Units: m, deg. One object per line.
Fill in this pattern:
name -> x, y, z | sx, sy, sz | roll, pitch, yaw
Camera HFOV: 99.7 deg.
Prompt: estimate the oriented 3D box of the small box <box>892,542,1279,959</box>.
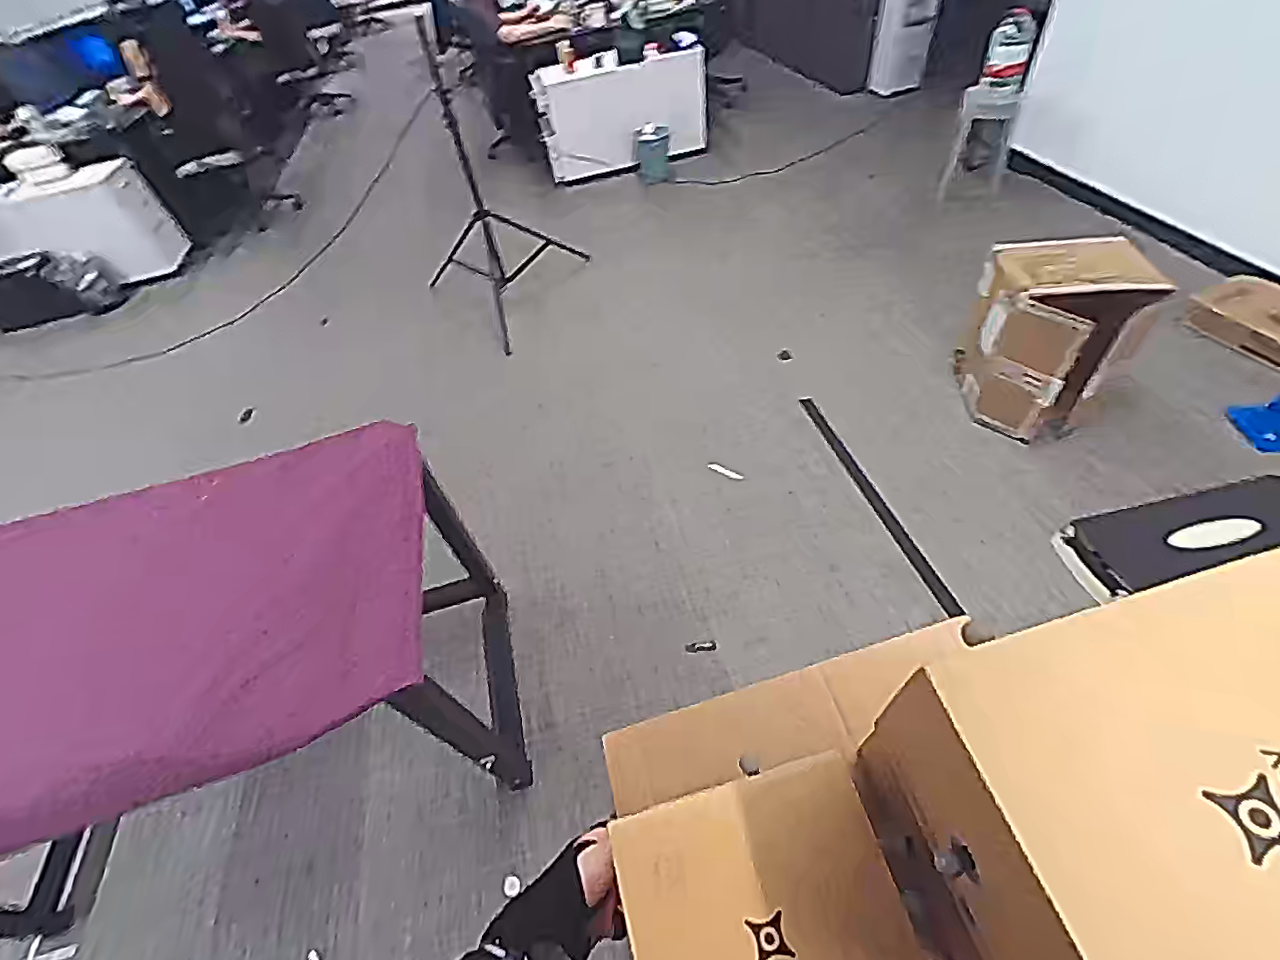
small box -> 0.239, 0.155, 0.251 | 0.179, 0.176, 0.168 | -19, 56, 2
